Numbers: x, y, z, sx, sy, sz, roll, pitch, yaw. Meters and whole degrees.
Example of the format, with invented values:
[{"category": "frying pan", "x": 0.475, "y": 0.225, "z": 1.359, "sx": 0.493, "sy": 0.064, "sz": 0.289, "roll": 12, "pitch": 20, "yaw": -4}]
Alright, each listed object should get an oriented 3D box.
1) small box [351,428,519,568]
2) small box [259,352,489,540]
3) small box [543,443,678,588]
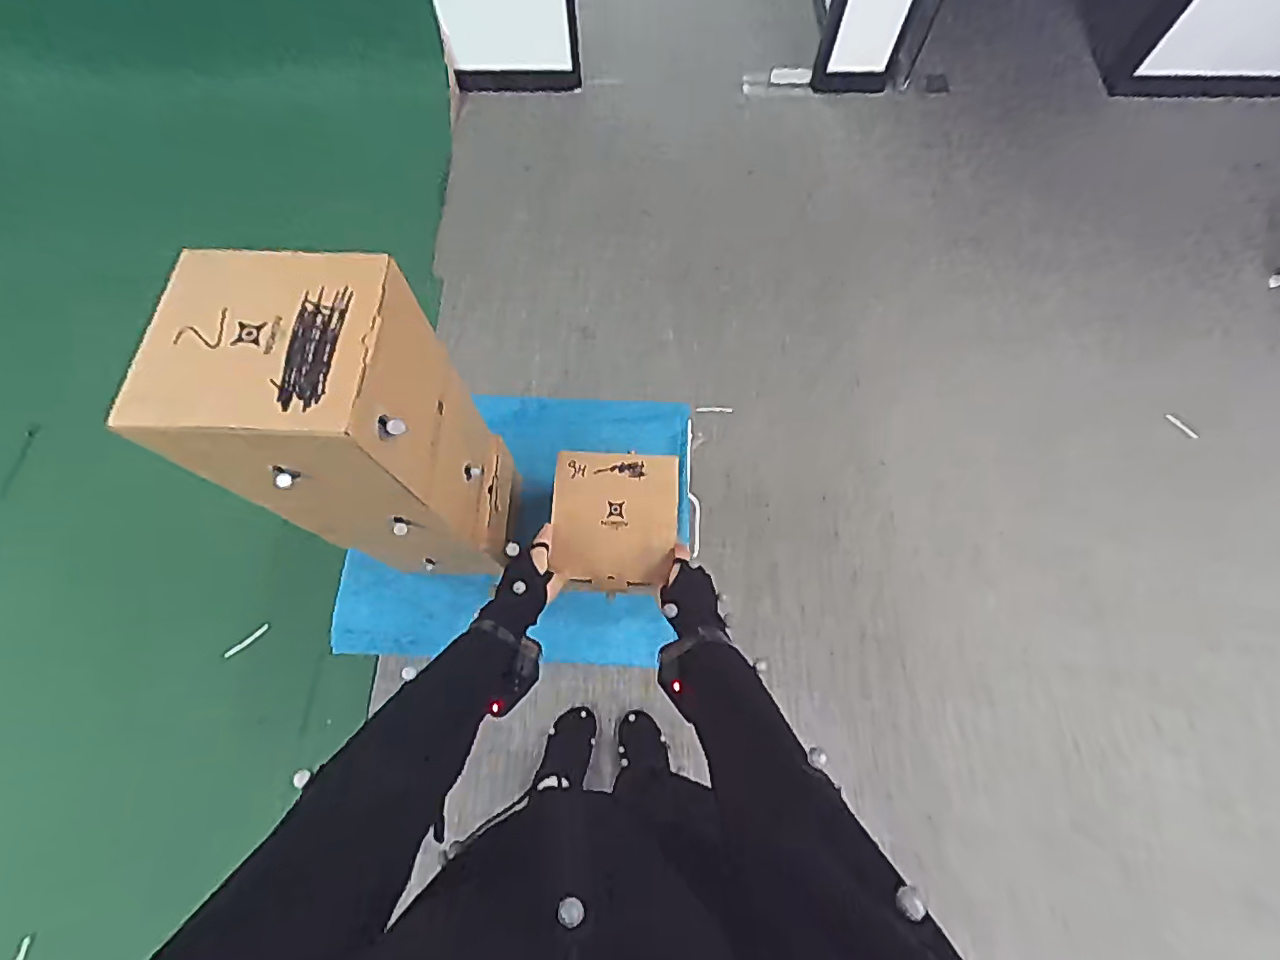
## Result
[{"category": "small box", "x": -0.281, "y": 0.029, "z": 0.789, "sx": 0.179, "sy": 0.176, "sz": 0.168, "roll": 2, "pitch": 68, "yaw": 0}, {"category": "small box", "x": -0.288, "y": -0.031, "z": 0.636, "sx": 0.179, "sy": 0.176, "sz": 0.168, "roll": 2, "pitch": 68, "yaw": 0}, {"category": "small box", "x": -0.036, "y": 0.059, "z": 0.774, "sx": 0.168, "sy": 0.176, "sz": 0.179, "roll": 3, "pitch": 74, "yaw": -1}]
